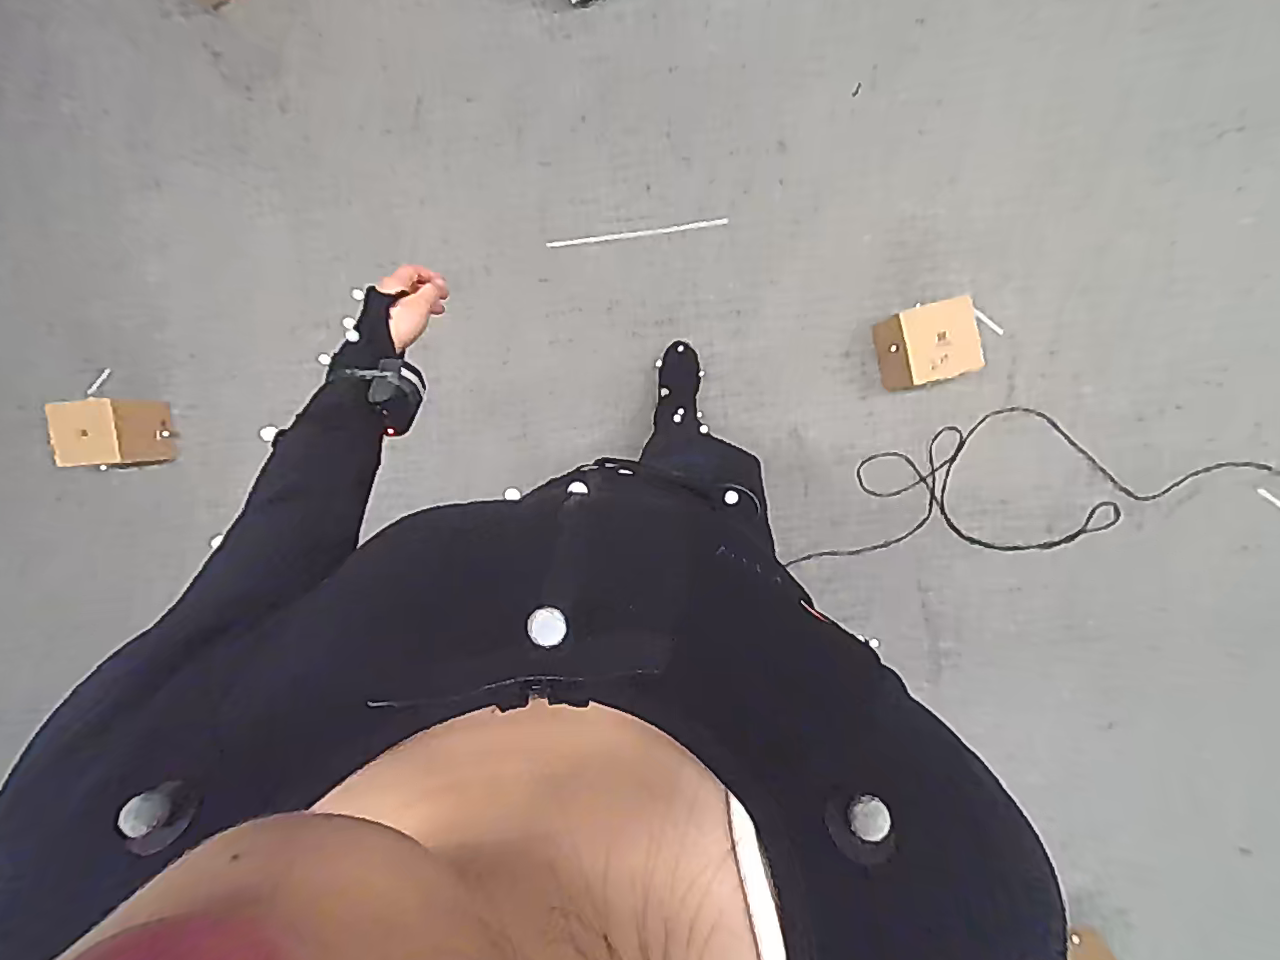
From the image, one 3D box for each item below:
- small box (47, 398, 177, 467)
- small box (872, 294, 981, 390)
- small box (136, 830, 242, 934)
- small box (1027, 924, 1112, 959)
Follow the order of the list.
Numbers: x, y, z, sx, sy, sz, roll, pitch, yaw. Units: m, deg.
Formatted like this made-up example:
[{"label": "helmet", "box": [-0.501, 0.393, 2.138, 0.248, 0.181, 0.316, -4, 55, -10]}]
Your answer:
[{"label": "small box", "box": [-1.408, -0.126, 1.452, 0.179, 0.176, 0.168, -5, 96, 2]}, {"label": "small box", "box": [0.687, -0.328, 1.316, 0.168, 0.176, 0.179, -14, 95, 4]}, {"label": "small box", "box": [-1.289, 1.147, 1.556, 0.179, 0.176, 0.168, 7, 96, 2]}, {"label": "small box", "box": [1.170, 1.339, 1.442, 0.168, 0.176, 0.179, -4, 94, 3]}]
